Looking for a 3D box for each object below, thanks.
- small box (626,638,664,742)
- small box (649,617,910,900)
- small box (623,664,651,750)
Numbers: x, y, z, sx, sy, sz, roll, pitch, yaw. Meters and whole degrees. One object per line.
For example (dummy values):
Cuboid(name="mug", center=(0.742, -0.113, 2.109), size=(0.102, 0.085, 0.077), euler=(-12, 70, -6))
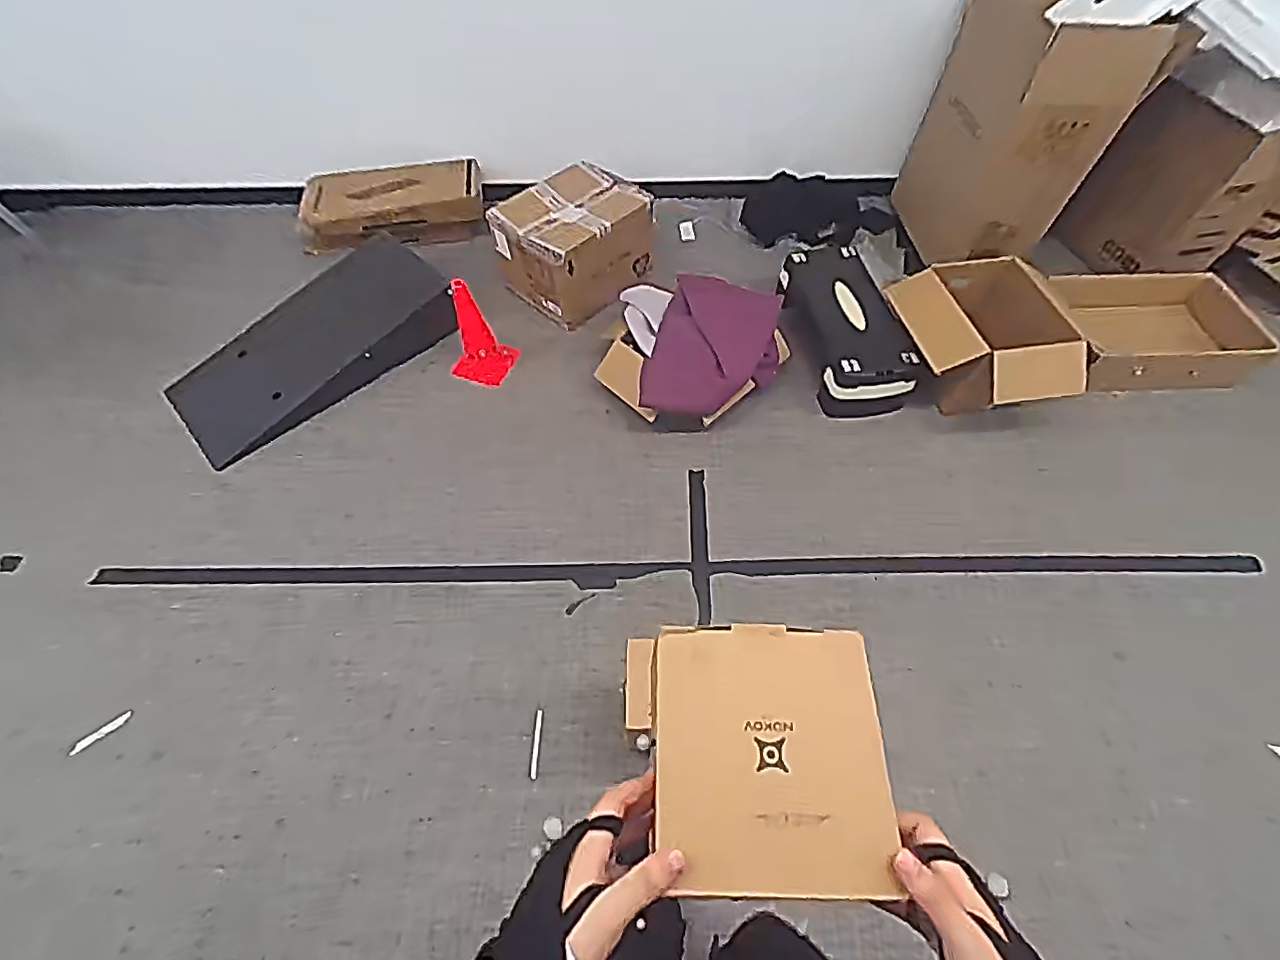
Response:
Cuboid(name="small box", center=(0.057, 0.444, 1.135), size=(0.168, 0.176, 0.179), euler=(0, 58, 1))
Cuboid(name="small box", center=(0.094, 0.228, 0.455), size=(0.168, 0.176, 0.179), euler=(2, 60, 1))
Cuboid(name="small box", center=(0.053, 0.533, 1.274), size=(0.179, 0.176, 0.168), euler=(-3, 57, -2))
